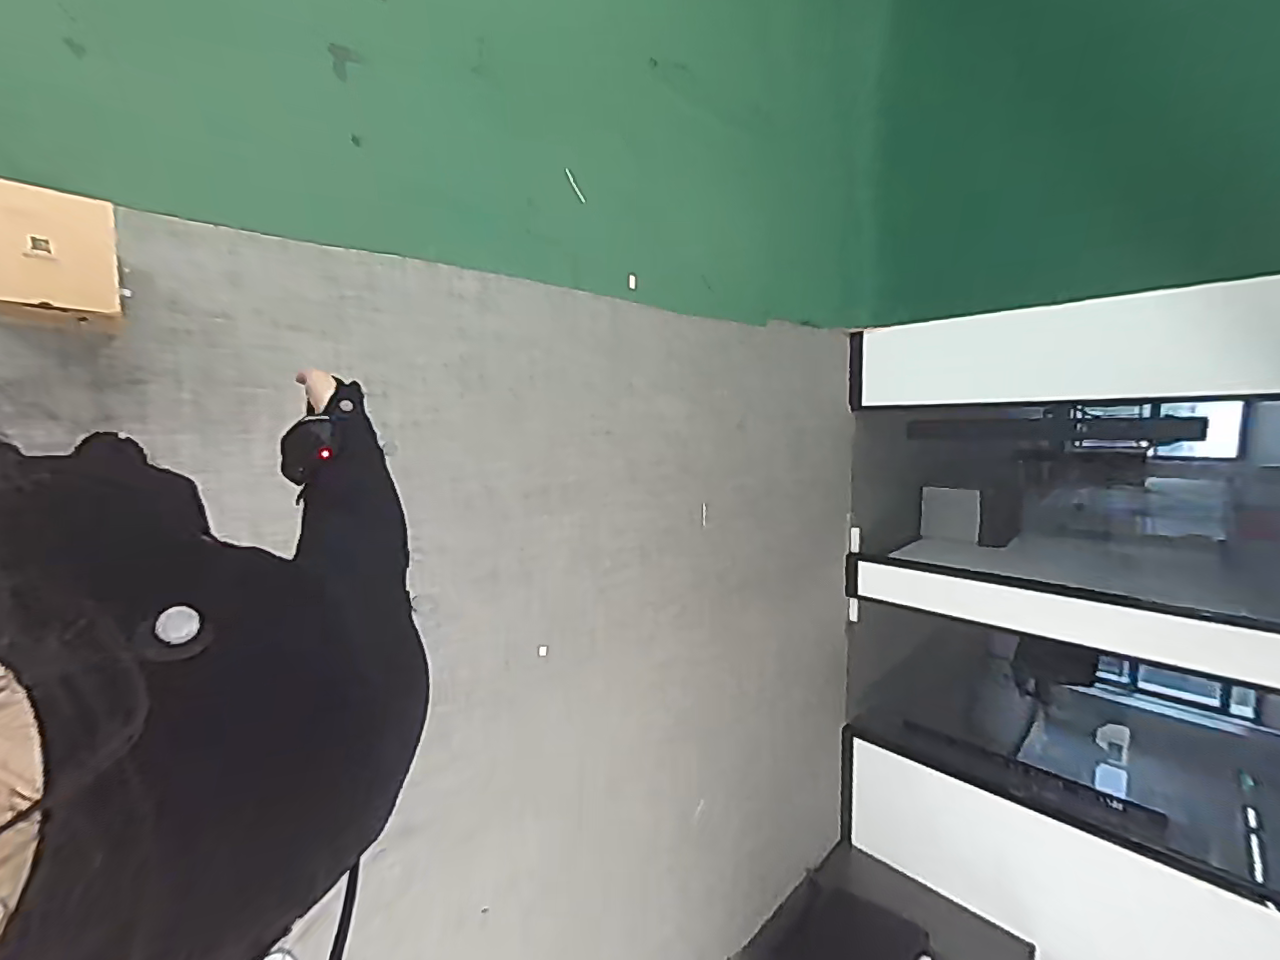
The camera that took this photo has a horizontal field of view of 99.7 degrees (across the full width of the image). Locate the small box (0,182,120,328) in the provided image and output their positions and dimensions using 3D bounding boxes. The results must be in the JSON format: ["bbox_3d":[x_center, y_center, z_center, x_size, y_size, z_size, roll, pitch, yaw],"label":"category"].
[{"bbox_3d":[-0.935,-0.342,0.849,0.168,0.176,0.179,-5,97,-45],"label":"small box"}]

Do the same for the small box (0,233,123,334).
[{"bbox_3d":[-1.047,-0.362,0.964,0.179,0.176,0.168,-3,97,-46],"label":"small box"}]
